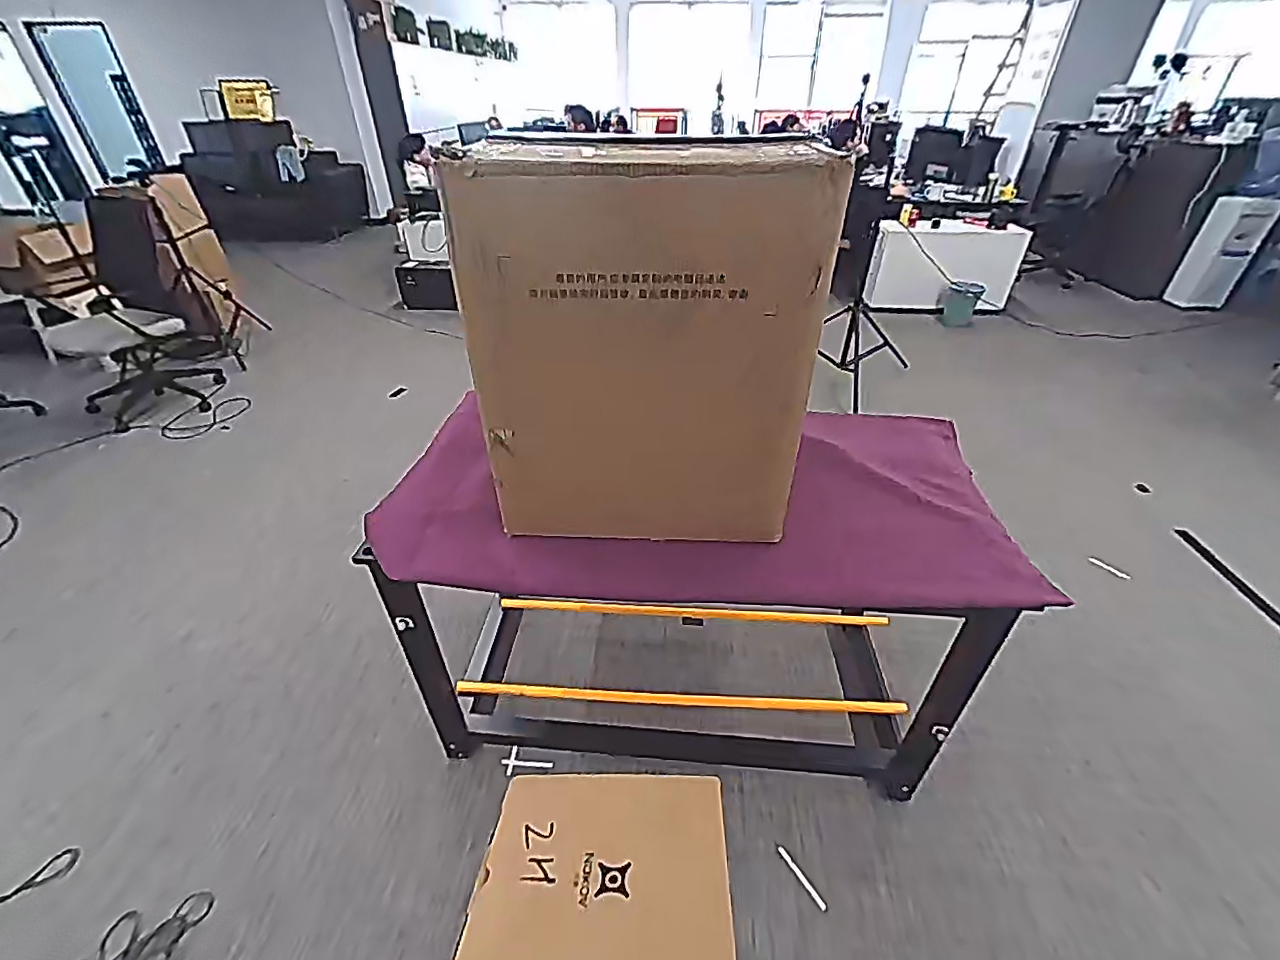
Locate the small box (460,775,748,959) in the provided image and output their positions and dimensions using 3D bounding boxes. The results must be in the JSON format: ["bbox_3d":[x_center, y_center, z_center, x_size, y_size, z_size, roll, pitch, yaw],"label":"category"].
[{"bbox_3d":[-0.016,0.349,0.393,0.179,0.176,0.168,-2,19,5],"label":"small box"}]
